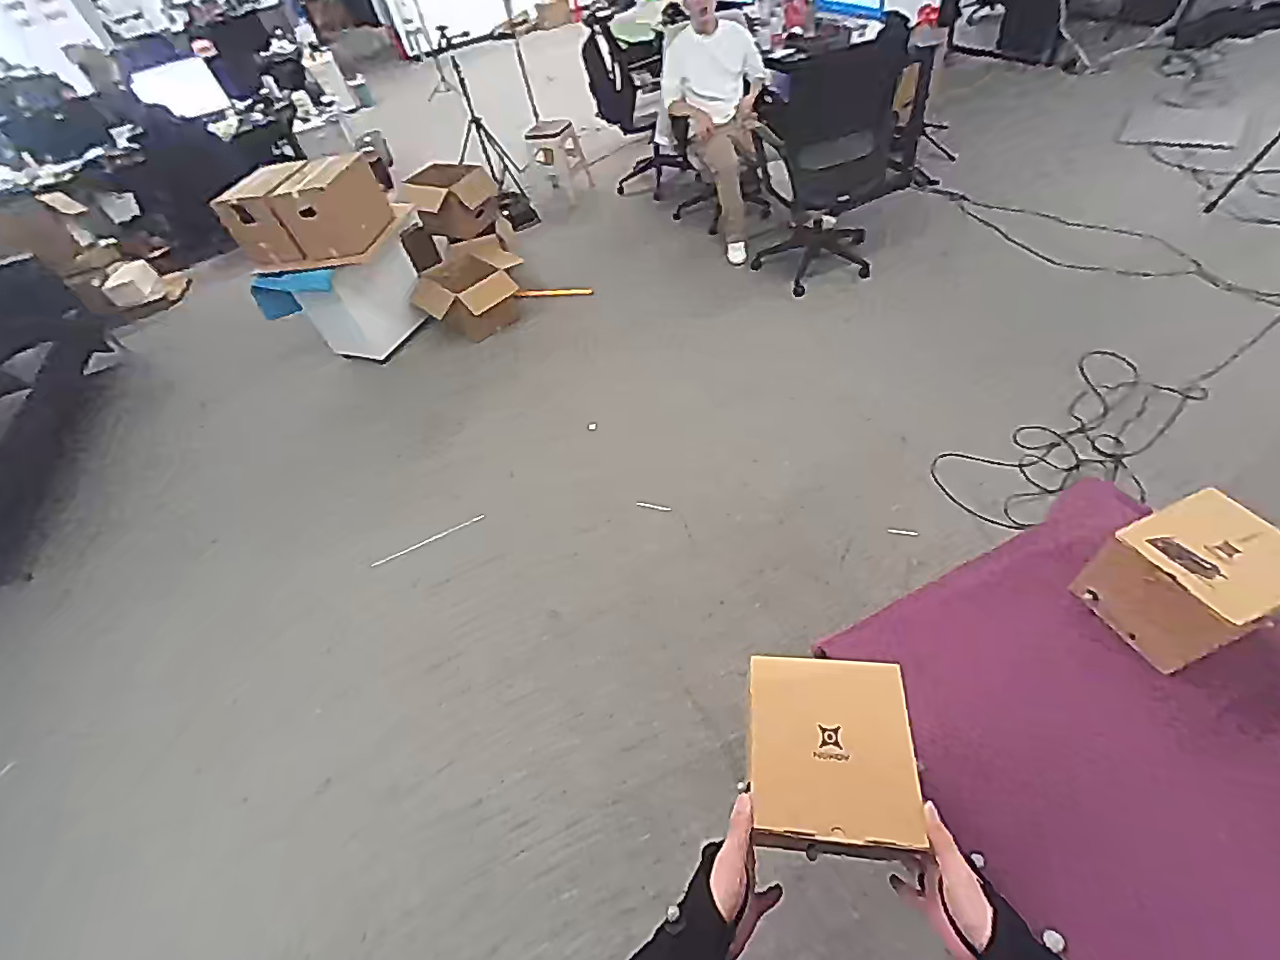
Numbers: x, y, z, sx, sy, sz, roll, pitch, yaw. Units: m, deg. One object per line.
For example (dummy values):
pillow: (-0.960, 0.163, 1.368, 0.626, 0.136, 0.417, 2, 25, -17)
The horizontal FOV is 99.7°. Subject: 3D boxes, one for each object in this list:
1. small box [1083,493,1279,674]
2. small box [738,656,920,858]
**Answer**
small box: (0.806, 0.156, 0.794, 0.179, 0.176, 0.168, -22, 49, -6)
small box: (0.200, 0.323, 0.629, 0.168, 0.176, 0.179, 1, 54, 9)
